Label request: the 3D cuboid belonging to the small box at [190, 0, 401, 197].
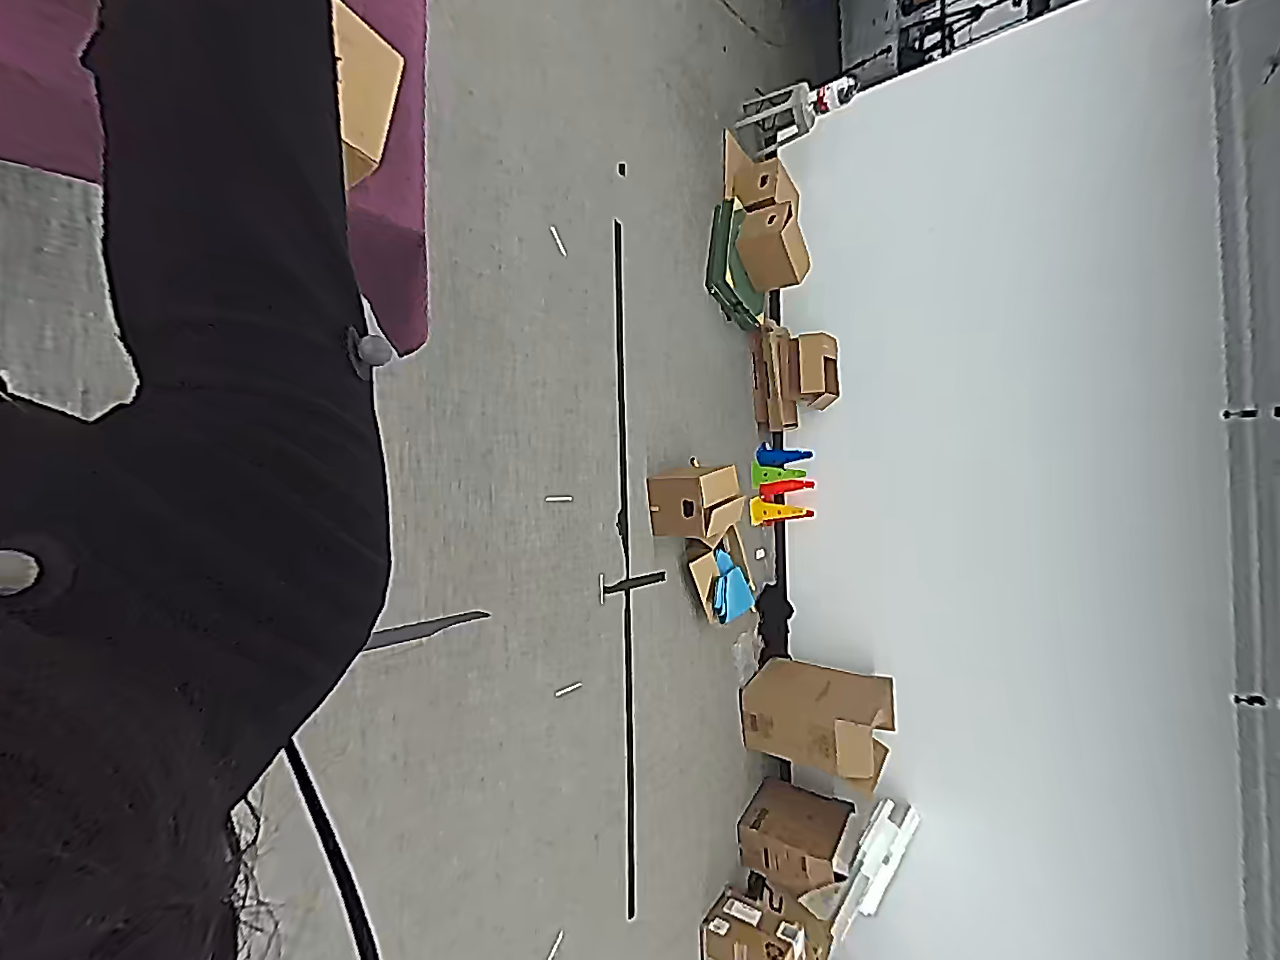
[{"bbox_3d":[-0.449,-0.513,0.708,0.168,0.176,0.179,22,69,-54],"label":"small box"}]
